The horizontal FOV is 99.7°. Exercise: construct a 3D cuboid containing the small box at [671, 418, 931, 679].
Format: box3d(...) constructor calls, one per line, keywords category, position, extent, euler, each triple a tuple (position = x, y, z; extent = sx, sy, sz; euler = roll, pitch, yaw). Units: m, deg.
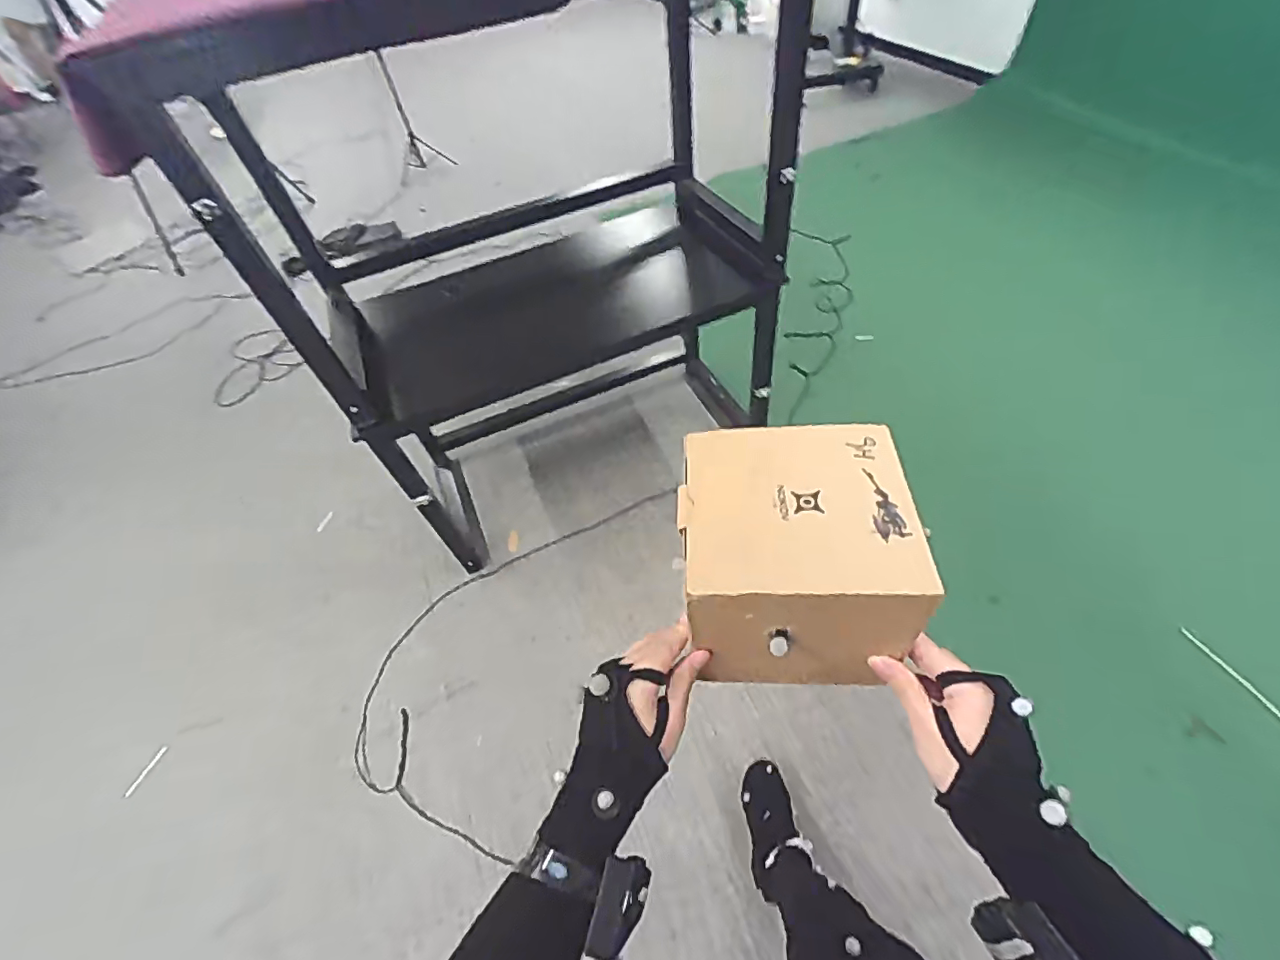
box3d(category="small box", position=(0.125, 0.066, 0.479), extent=(0.179, 0.176, 0.168), euler=(-3, 49, 9))
